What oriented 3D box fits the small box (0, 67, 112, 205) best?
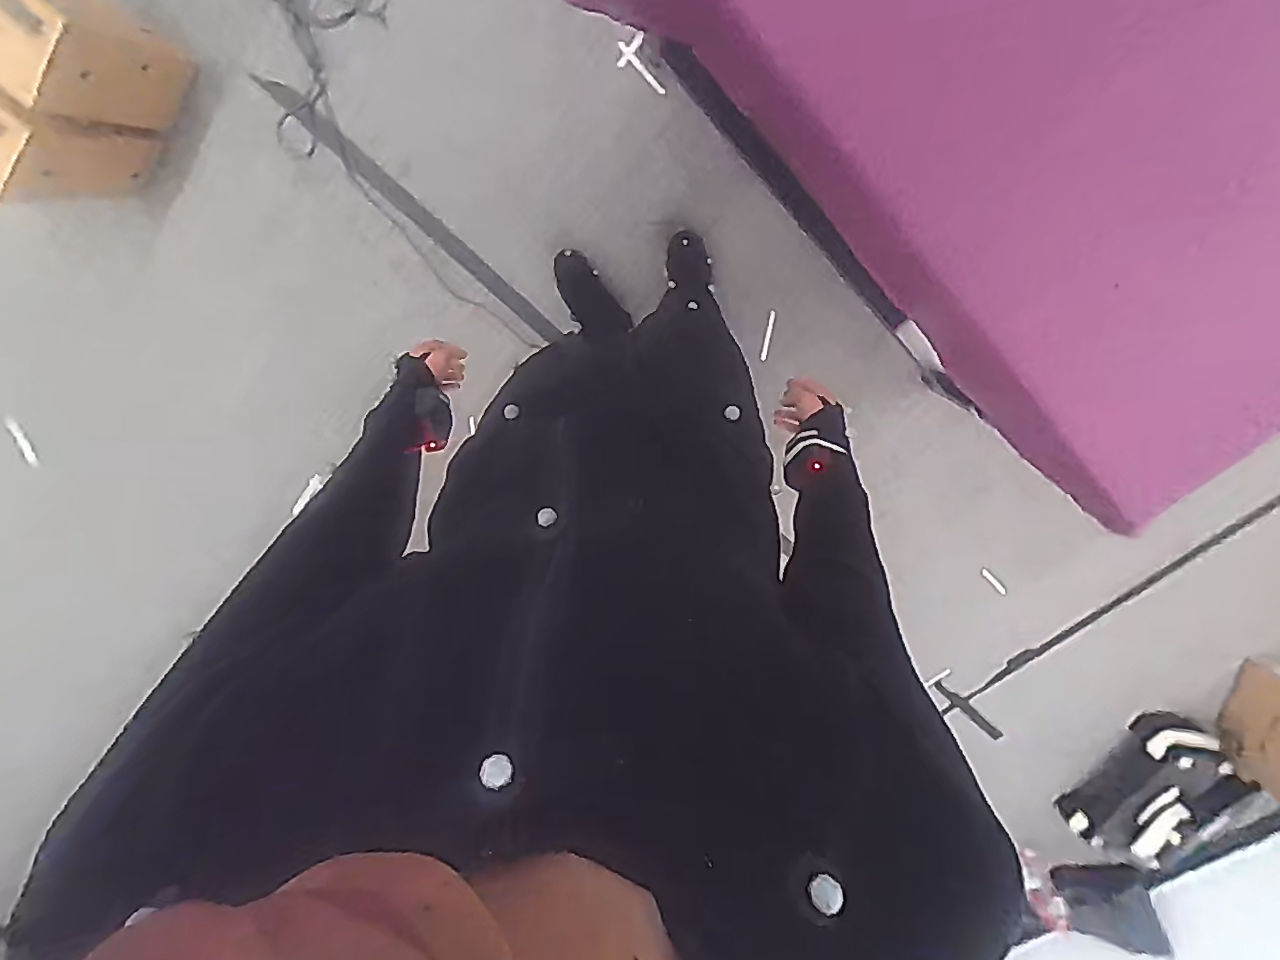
[{"bbox_3d":[-1.202,-0.669,1.052,0.179,0.176,0.168,-38,112,20],"label":"small box"}]
